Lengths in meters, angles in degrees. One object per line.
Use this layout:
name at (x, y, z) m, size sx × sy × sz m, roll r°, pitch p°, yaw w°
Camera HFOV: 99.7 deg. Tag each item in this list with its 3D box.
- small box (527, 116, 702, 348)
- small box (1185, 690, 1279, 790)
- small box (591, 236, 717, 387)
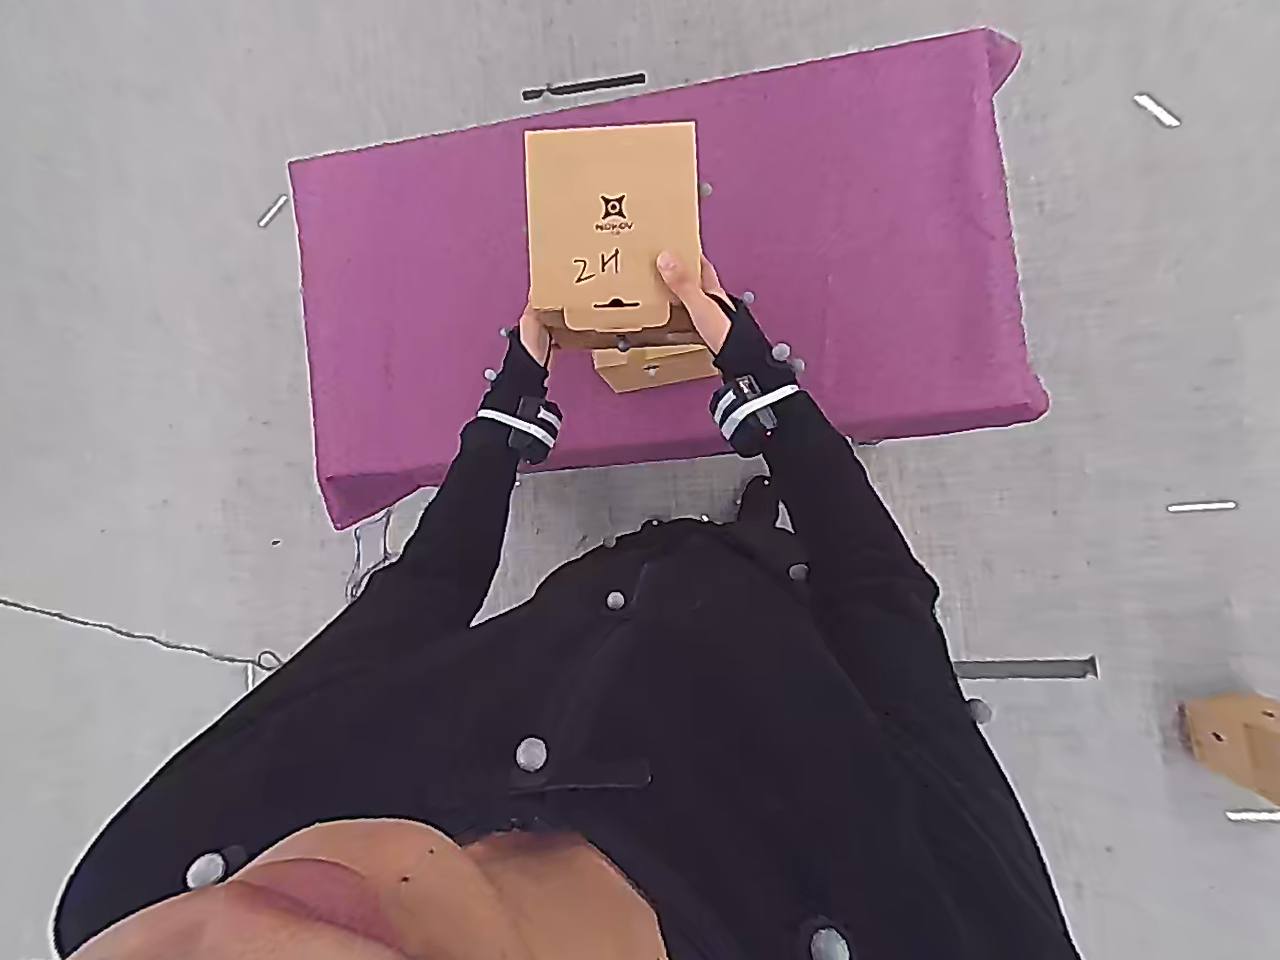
small box at (-0.023, -0.254, 0.589) m, size 0.168 × 0.176 × 0.179 m, roll -2°, pitch 90°, yaw 2°
small box at (1.502, 0.632, 1.328) m, size 0.179 × 0.176 × 0.168 m, roll -9°, pitch 87°, yaw 7°
small box at (0.021, -0.249, 0.827) m, size 0.179 × 0.176 × 0.168 m, roll -9°, pitch 87°, yaw 7°
